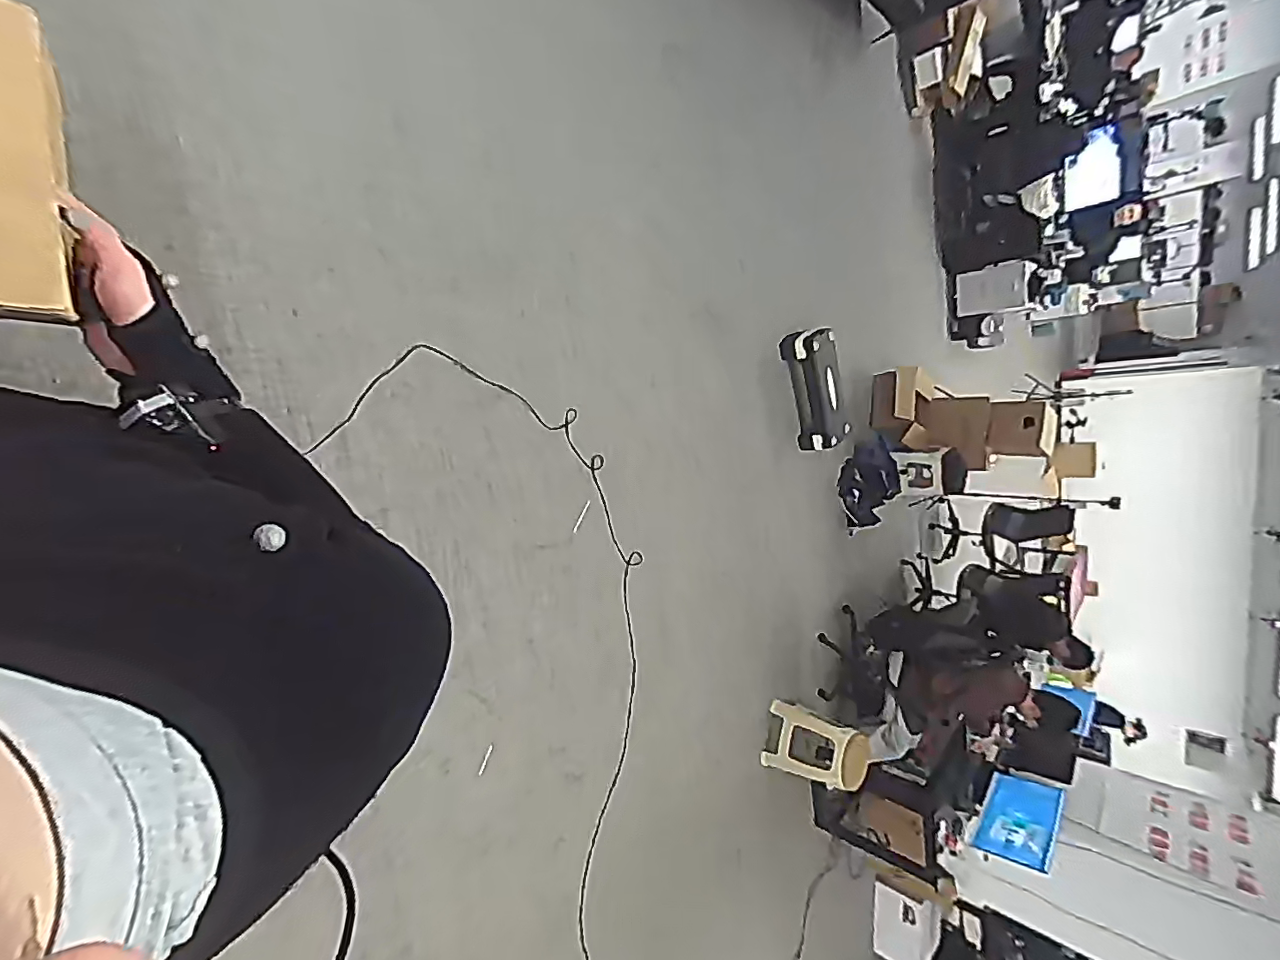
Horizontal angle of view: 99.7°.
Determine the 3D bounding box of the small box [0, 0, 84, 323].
[{"bbox_3d":[-0.462,-0.194,0.326,0.168,0.176,0.179,-6,104,-44],"label":"small box"}]
